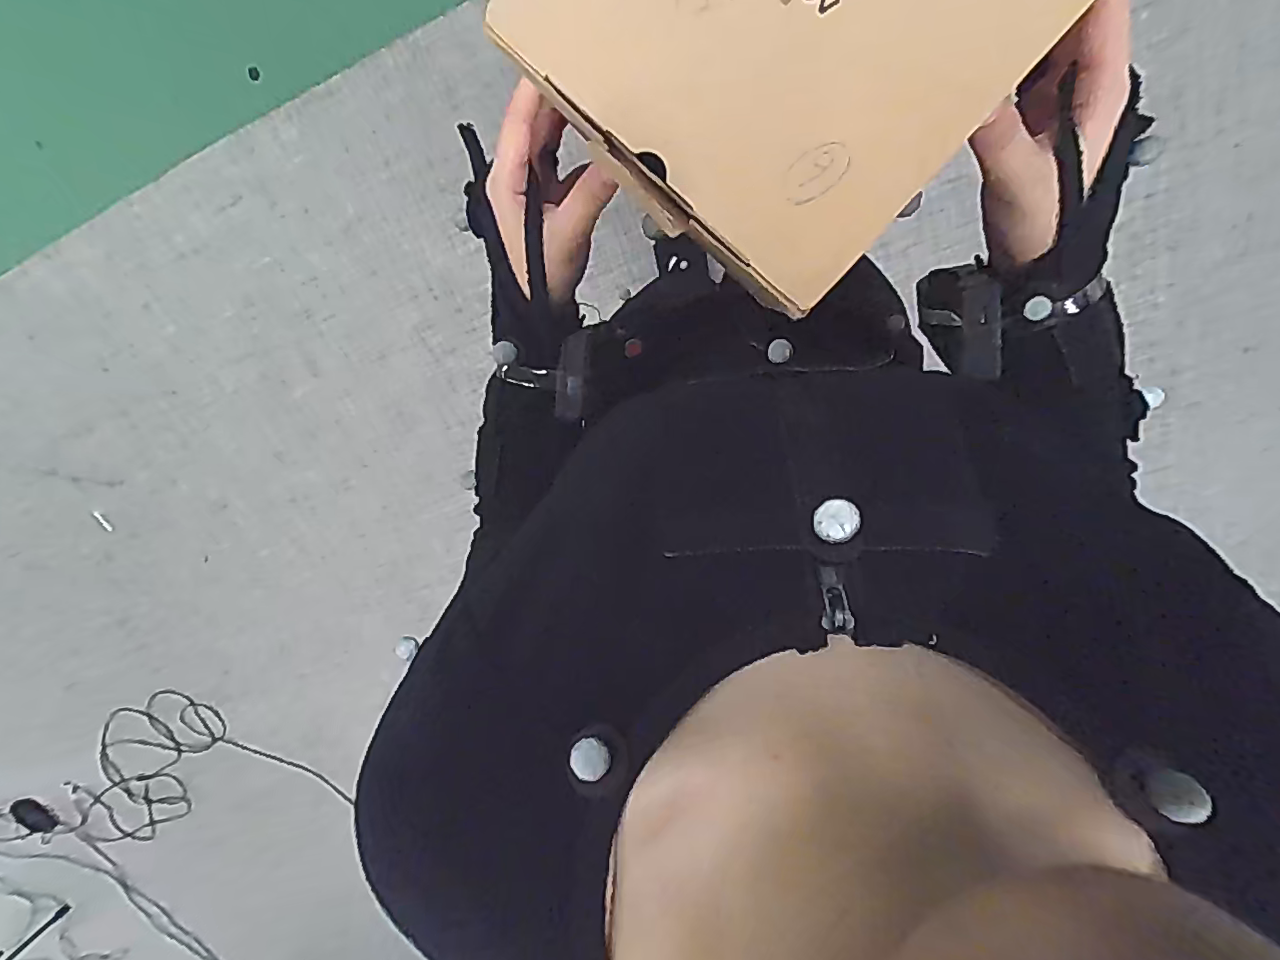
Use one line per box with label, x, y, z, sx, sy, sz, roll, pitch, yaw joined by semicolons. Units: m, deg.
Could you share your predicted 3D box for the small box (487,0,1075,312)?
small box;0.066;-0.206;0.263;0.168;0.176;0.179;40;111;-6
